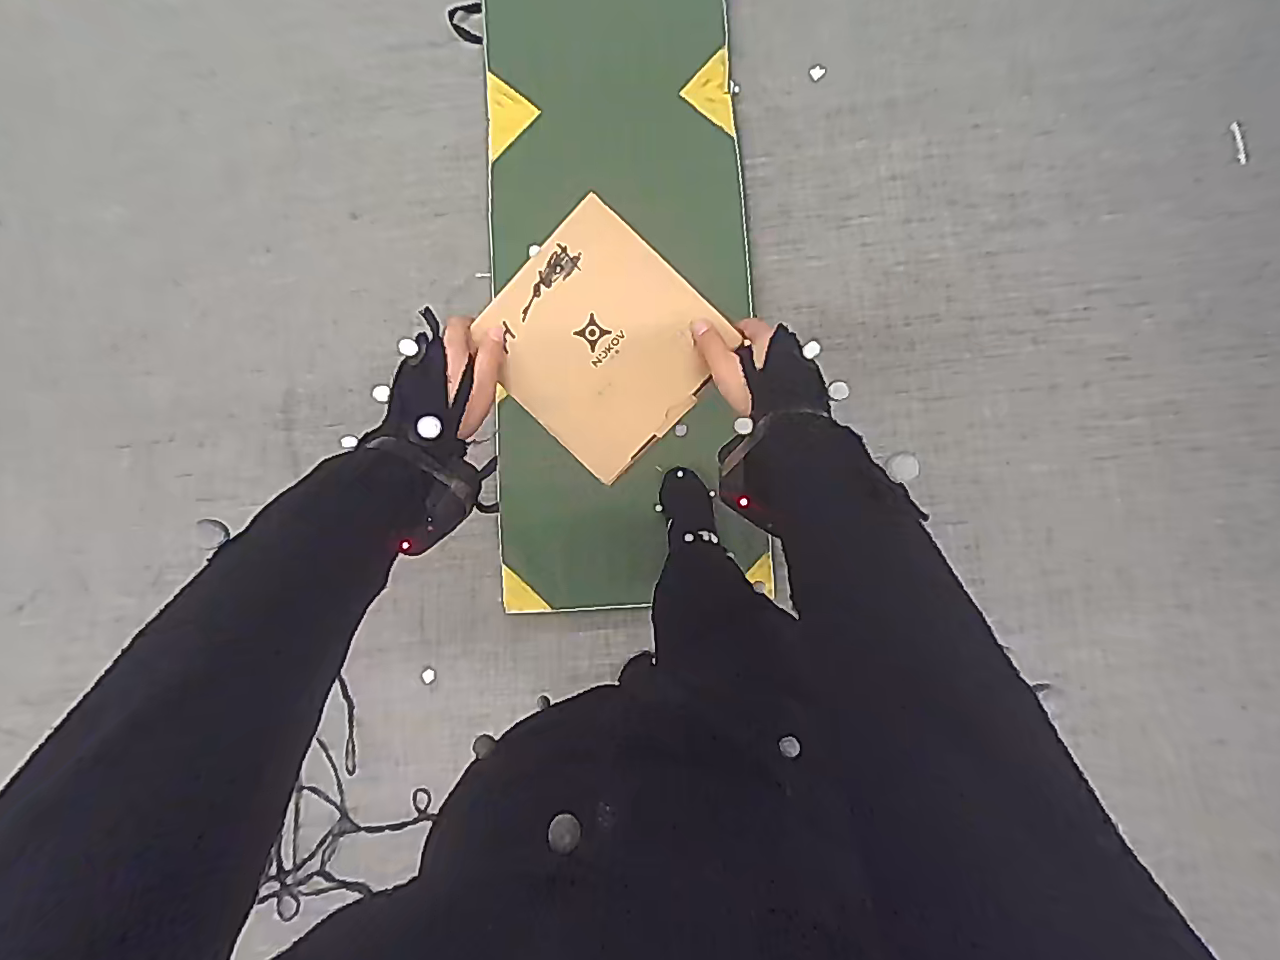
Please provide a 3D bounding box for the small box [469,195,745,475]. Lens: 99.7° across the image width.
[{"bbox_3d":[-0.025,-0.125,0.530,0.179,0.176,0.168,44,94,0],"label":"small box"}]
